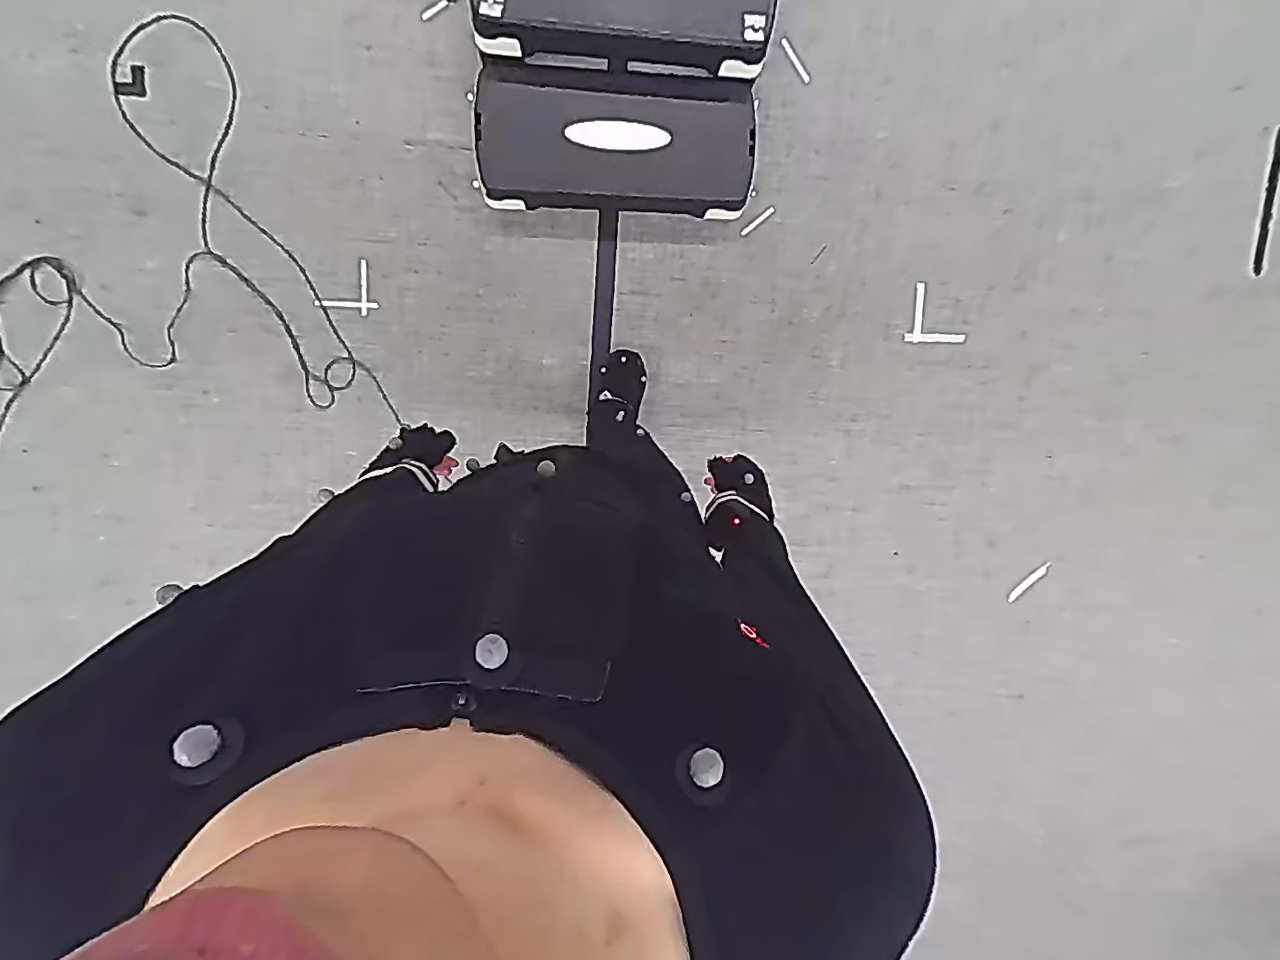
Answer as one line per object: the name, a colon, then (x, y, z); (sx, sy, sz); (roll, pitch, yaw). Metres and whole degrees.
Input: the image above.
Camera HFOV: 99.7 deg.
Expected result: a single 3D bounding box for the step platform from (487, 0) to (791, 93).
step platform: (-0.002, -1.106, 1.230); (0.684, 0.204, 0.286); (1, 98, -6)
